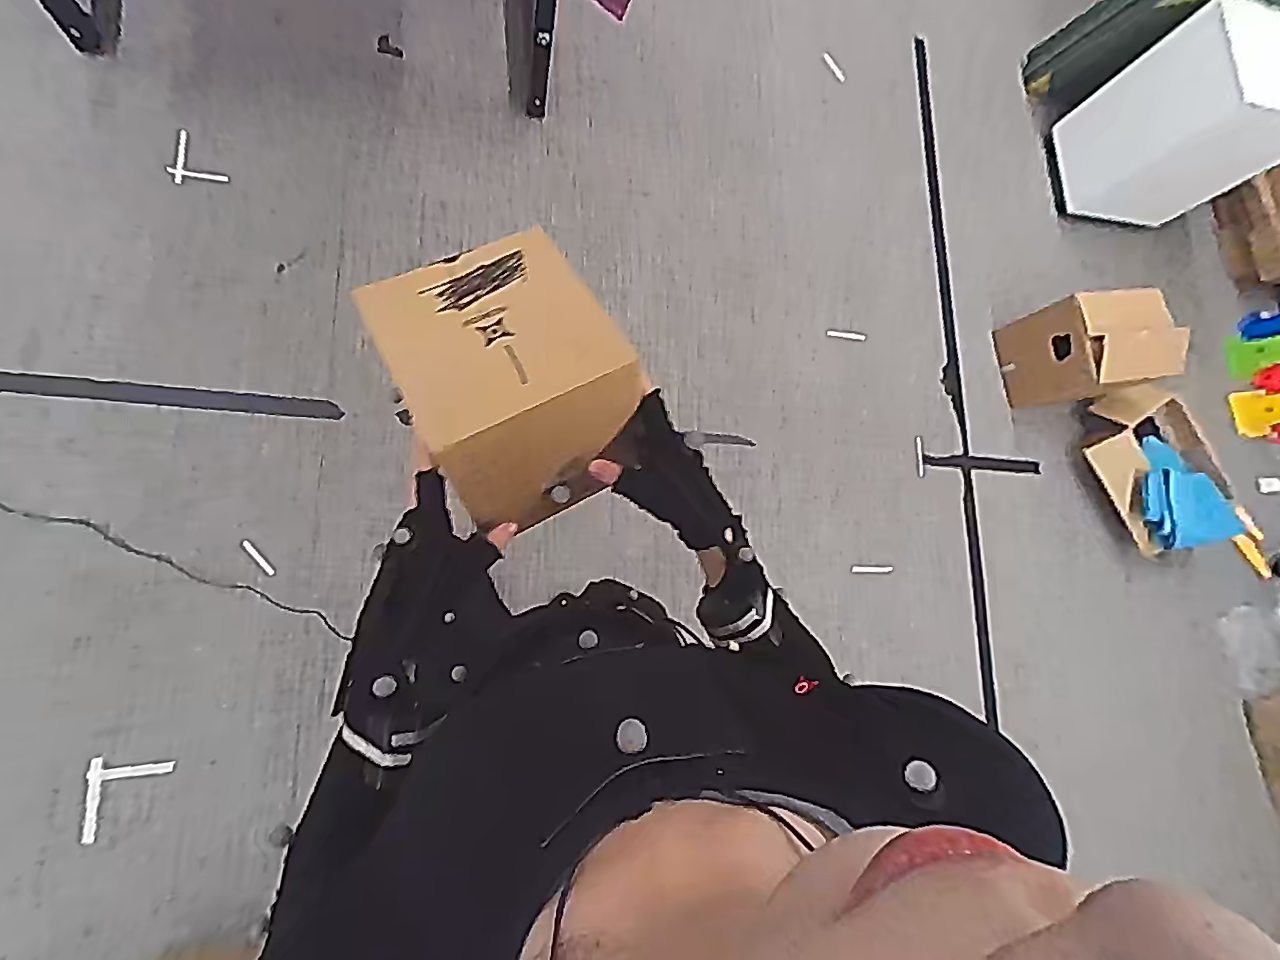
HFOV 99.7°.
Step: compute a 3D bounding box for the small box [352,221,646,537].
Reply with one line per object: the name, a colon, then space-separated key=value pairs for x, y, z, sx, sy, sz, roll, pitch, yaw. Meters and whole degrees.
small box: x=-0.110 y=-0.081 z=0.472 sx=0.168 sy=0.176 sz=0.179 roll=-30 pitch=65 yaw=-16
